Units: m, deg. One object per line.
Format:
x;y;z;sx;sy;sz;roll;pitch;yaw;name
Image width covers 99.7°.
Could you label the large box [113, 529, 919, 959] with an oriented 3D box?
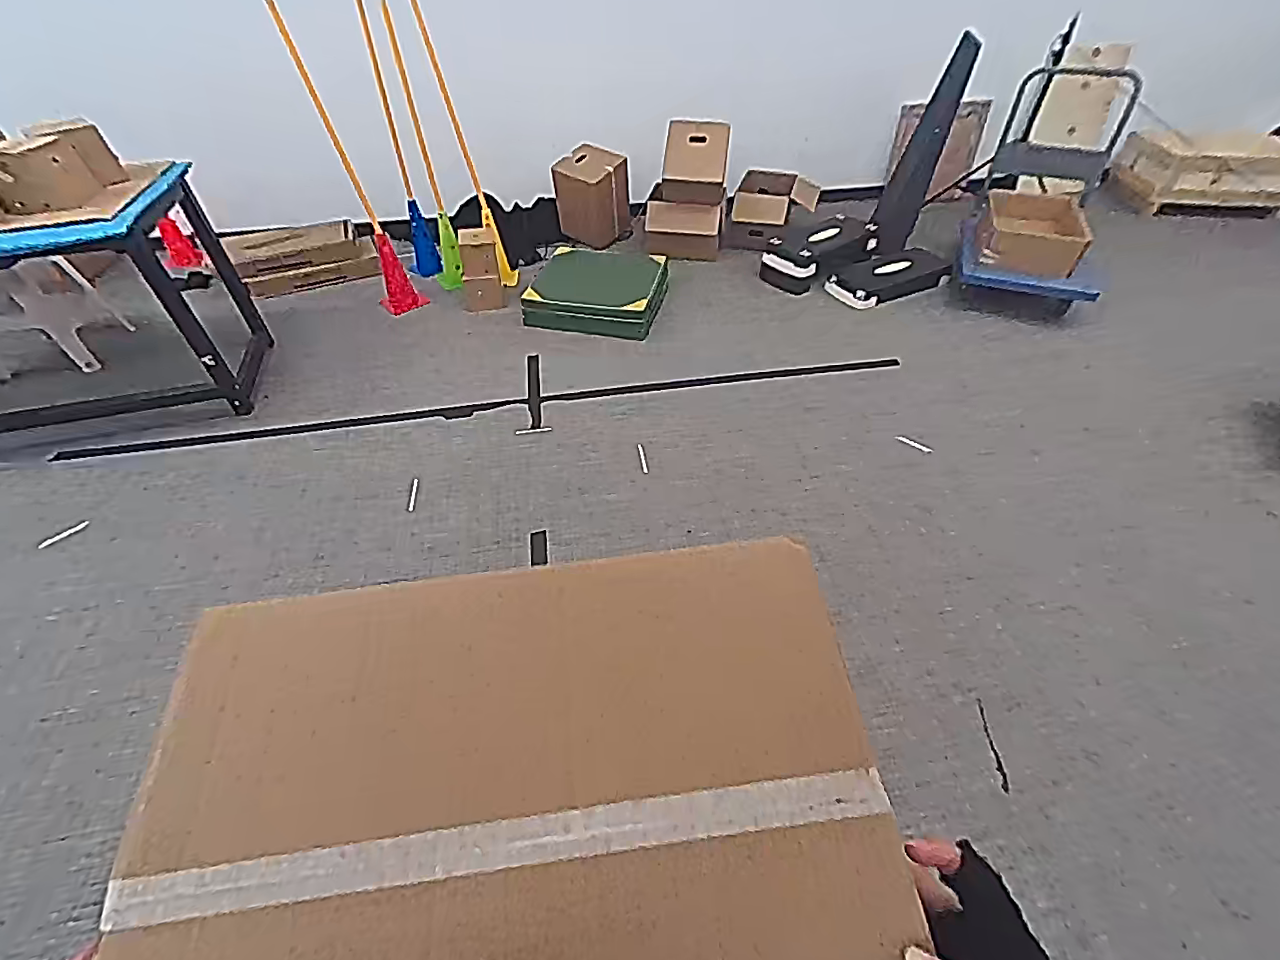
-0.068;0.267;0.425;0.408;0.320;0.320;-7;59;-3;large box
